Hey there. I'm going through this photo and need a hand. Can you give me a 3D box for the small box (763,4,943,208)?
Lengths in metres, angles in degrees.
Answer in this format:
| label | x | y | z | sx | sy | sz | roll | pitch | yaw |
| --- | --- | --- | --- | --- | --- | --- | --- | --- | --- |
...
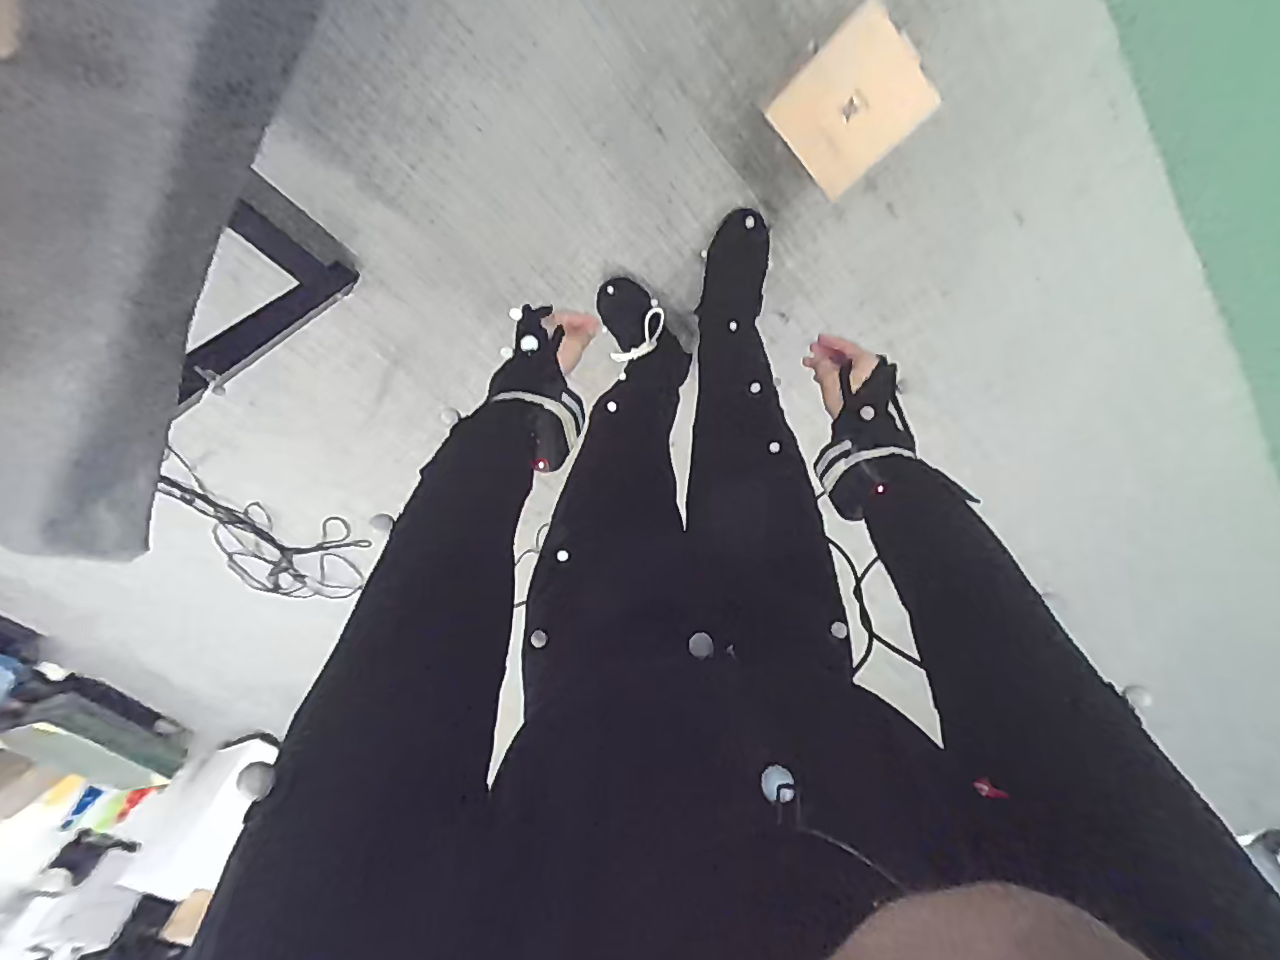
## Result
| label | x | y | z | sx | sy | sz | roll | pitch | yaw |
| --- | --- | --- | --- | --- | --- | --- | --- | --- | --- |
| small box | 0.301 | -0.549 | 0.803 | 0.168 | 0.176 | 0.179 | 38 | 124 | -20 |
